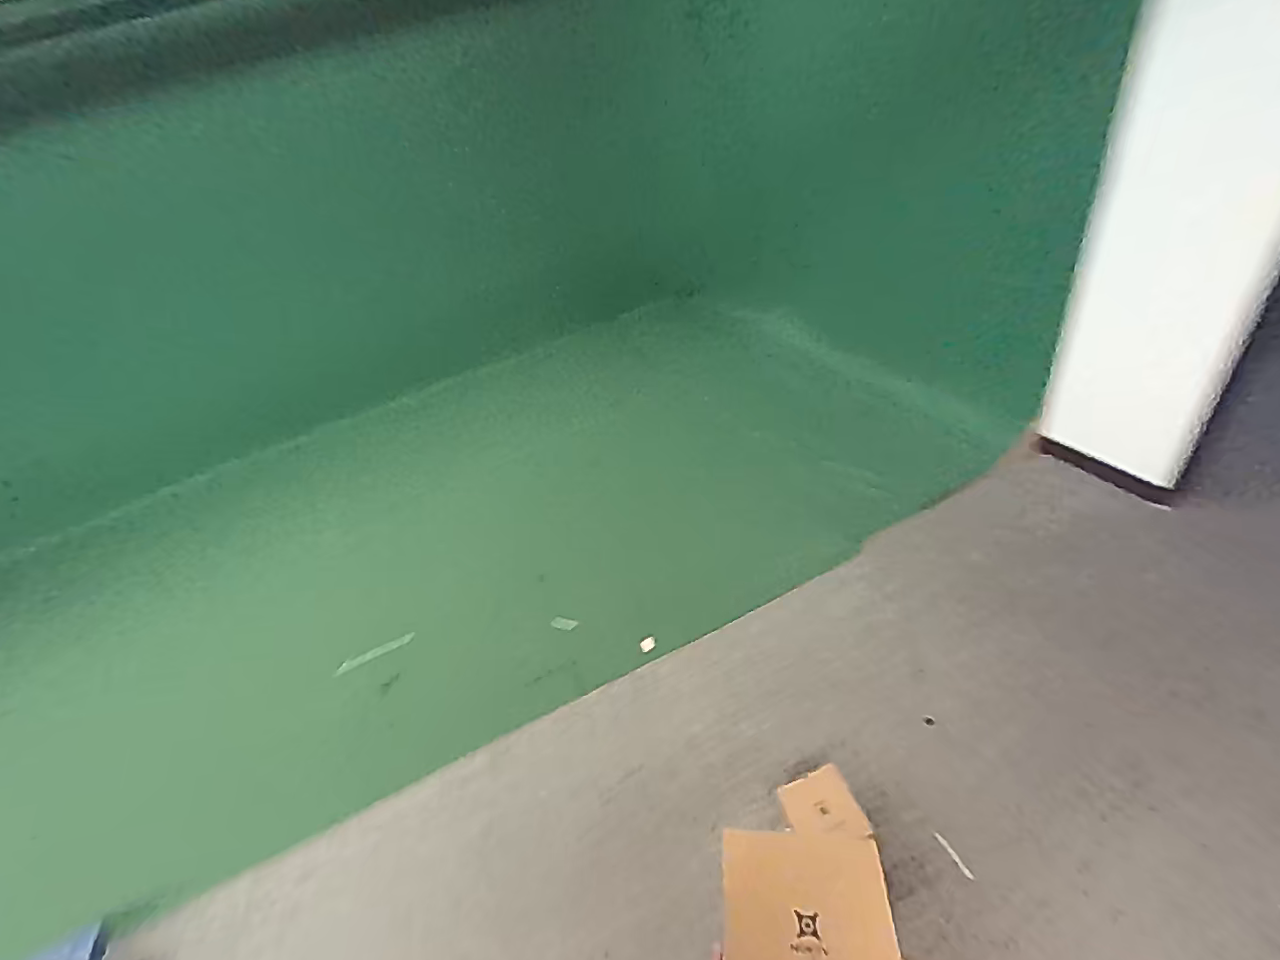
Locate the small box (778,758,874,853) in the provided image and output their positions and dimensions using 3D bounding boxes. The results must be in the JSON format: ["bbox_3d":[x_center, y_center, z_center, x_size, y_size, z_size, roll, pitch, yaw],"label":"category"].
[{"bbox_3d":[0.465,0.851,1.365,0.168,0.176,0.179,-21,38,-5],"label":"small box"}]

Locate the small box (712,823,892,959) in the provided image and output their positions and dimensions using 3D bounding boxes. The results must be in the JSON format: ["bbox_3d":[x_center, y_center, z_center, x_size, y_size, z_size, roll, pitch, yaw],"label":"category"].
[{"bbox_3d":[0.160,0.498,0.569,0.168,0.176,0.179,-2,35,7],"label":"small box"}]
